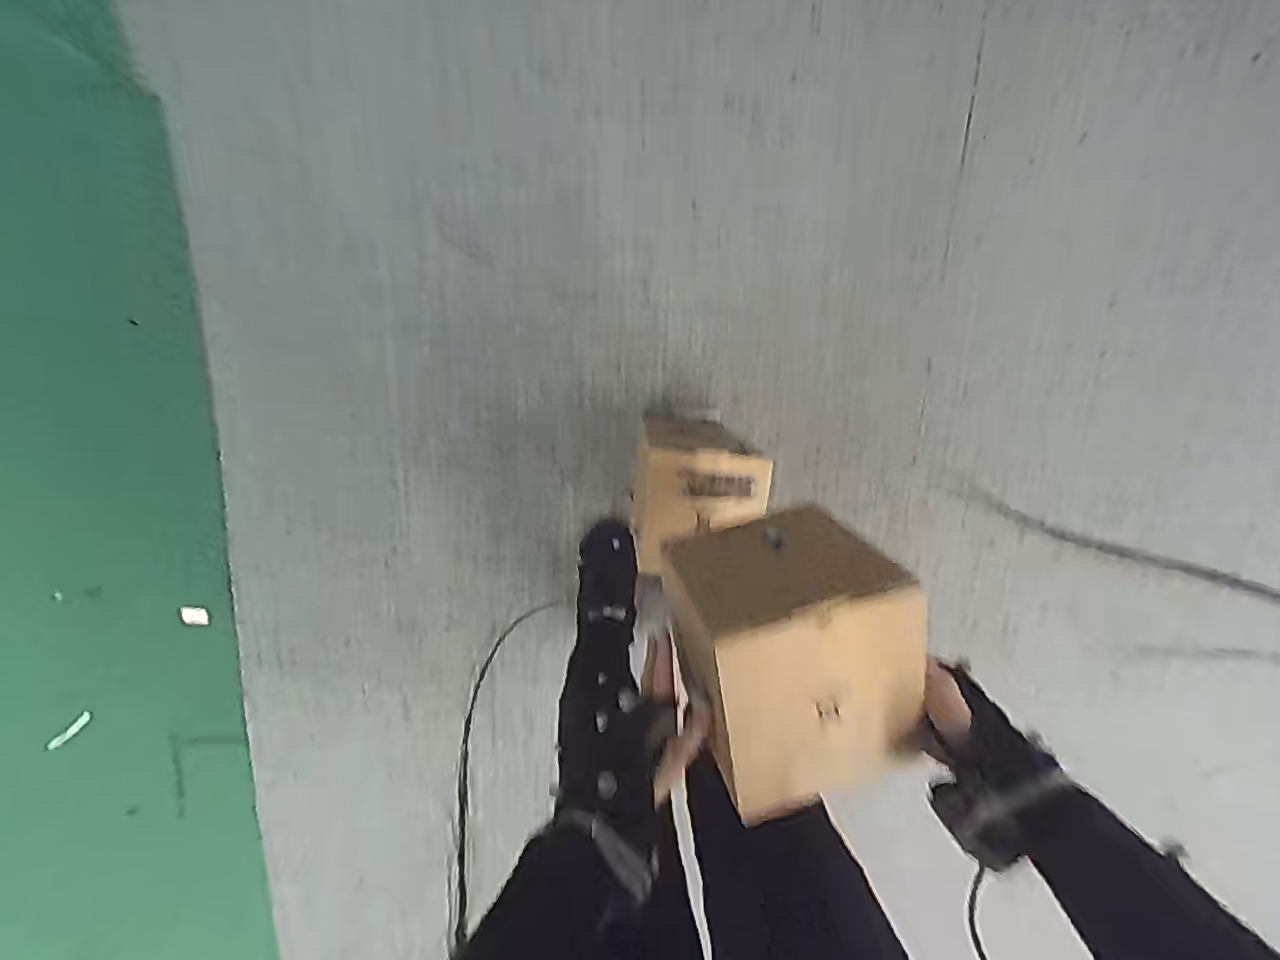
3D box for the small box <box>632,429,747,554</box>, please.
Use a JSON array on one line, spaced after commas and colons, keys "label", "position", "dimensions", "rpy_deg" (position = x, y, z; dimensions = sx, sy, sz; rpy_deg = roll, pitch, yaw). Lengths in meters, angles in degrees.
[{"label": "small box", "position": [0.079, 0.014, 0.968], "dimensions": [0.168, 0.176, 0.179], "rpy_deg": [8, 101, -5]}]
